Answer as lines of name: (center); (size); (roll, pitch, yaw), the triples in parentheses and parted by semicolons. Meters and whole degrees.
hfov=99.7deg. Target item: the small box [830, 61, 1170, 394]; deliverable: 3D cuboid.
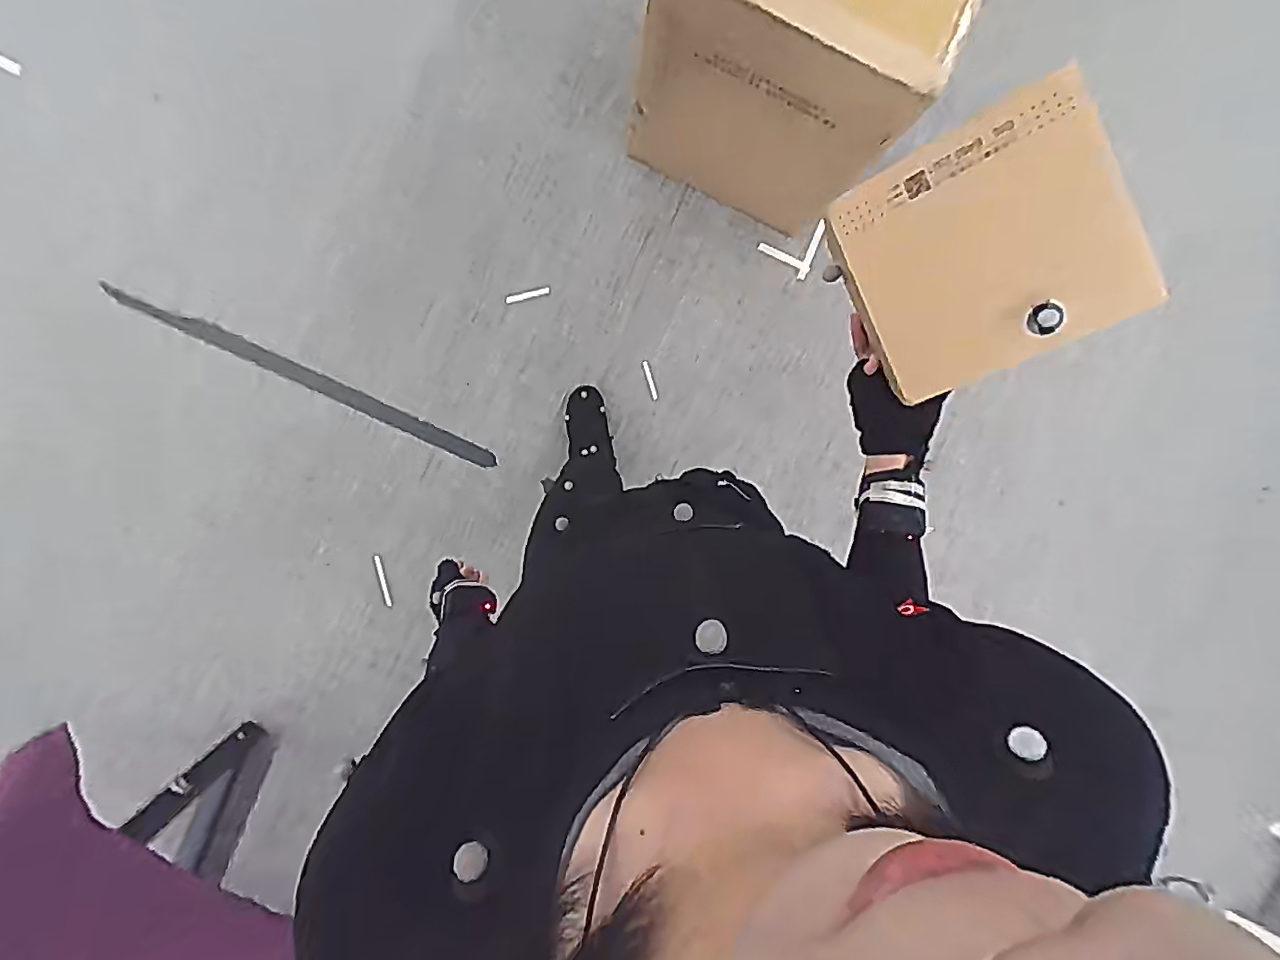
small box: (0.268, -0.188, 0.446); (0.168, 0.179, 0.176); (-23, 95, 25)
